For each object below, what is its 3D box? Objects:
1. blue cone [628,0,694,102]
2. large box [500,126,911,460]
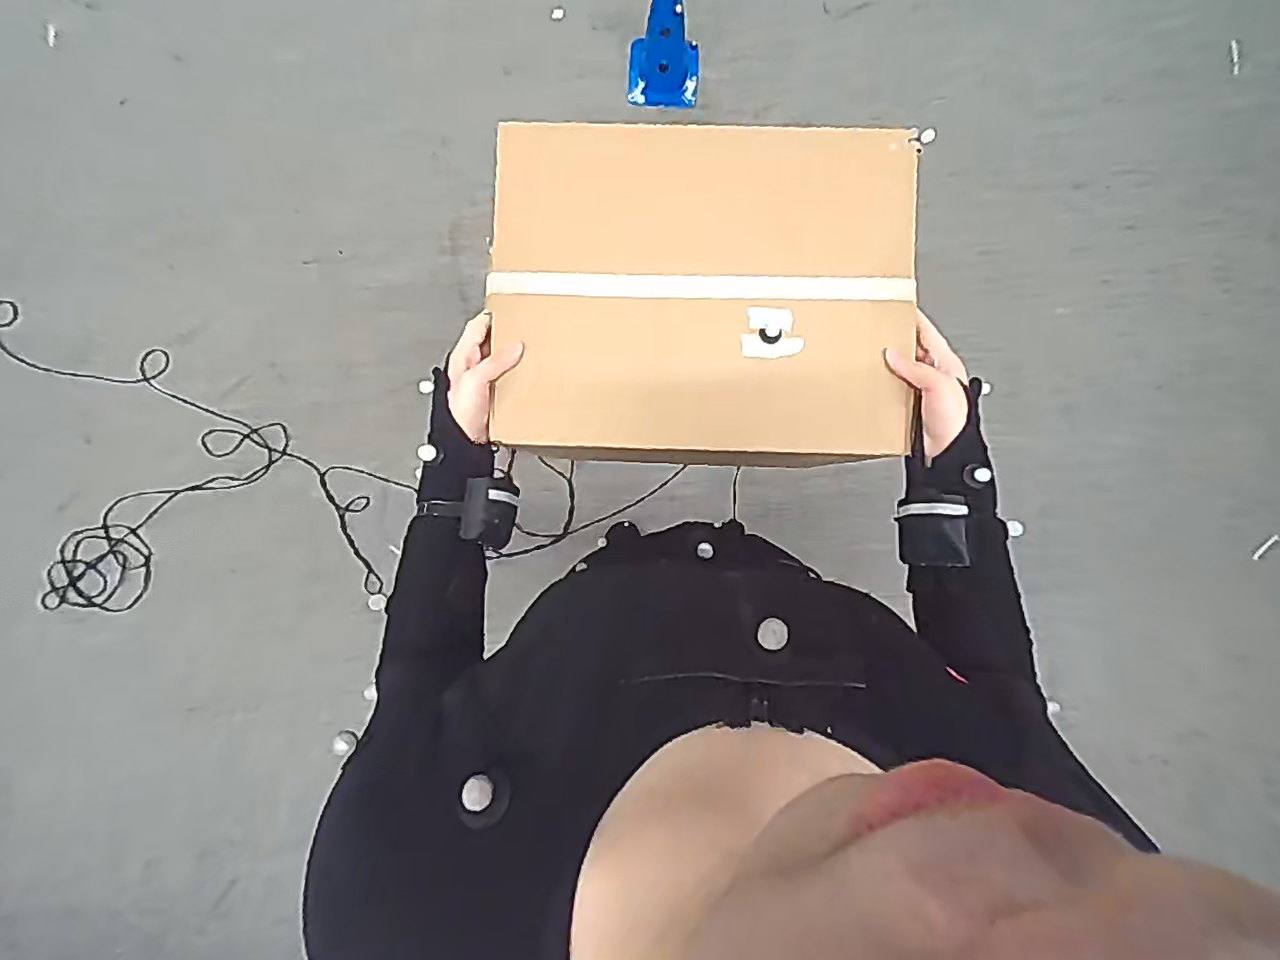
[{"bbox_3d":[0.061,-1.204,1.409,0.193,0.380,0.192,5,87,0],"label":"blue cone"},{"bbox_3d":[0.062,-0.188,0.674,0.408,0.320,0.320,1,90,0],"label":"large box"}]
